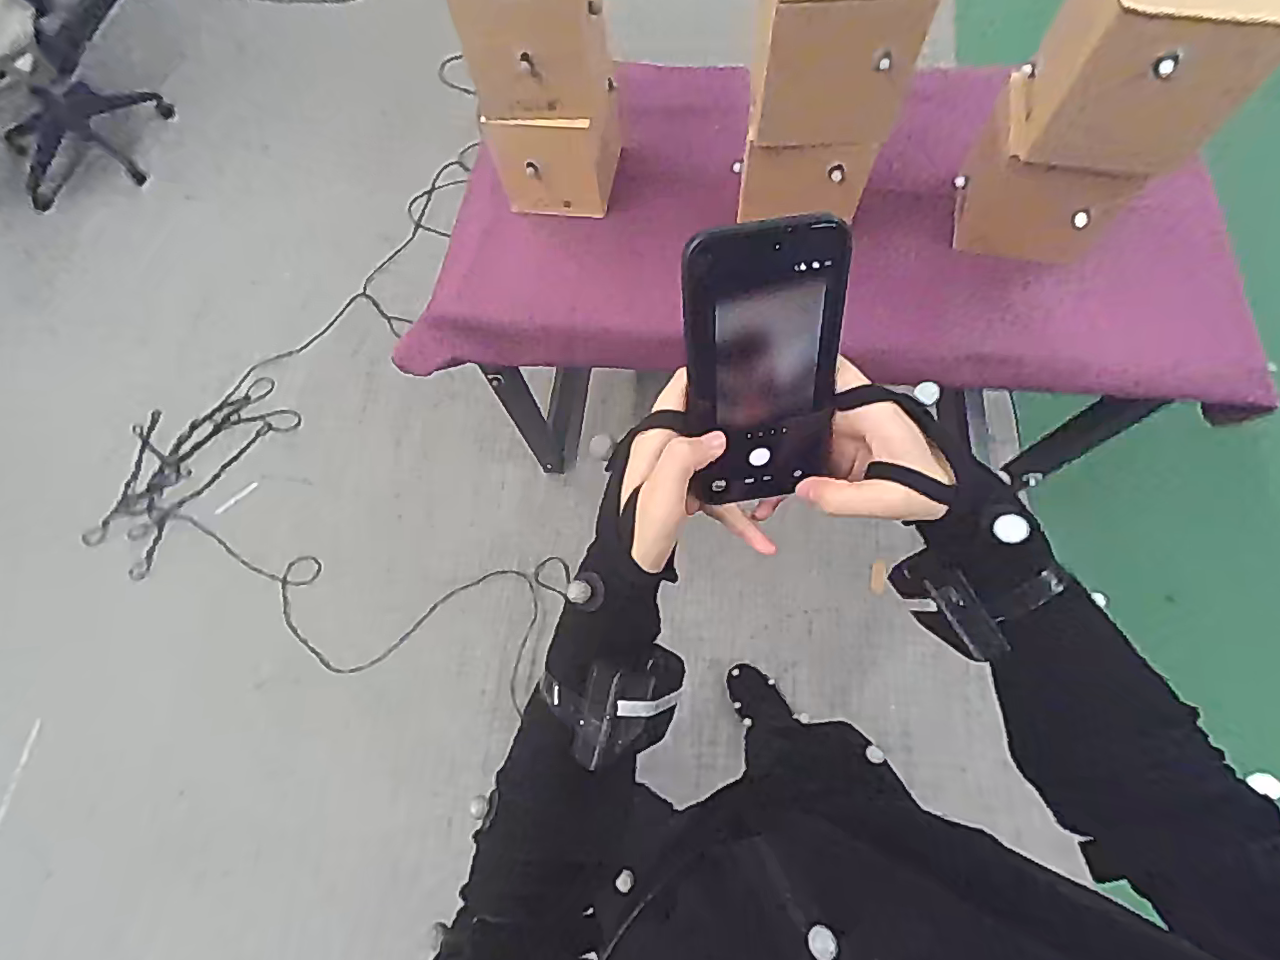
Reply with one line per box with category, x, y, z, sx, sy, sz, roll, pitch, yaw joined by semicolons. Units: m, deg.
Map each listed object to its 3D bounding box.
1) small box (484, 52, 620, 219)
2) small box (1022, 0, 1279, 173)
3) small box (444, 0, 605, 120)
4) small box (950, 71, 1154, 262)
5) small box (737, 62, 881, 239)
small box;-0.131;-0.557;0.885;0.168;0.176;0.179;7;69;7
small box;0.579;-0.490;0.627;0.179;0.176;0.168;12;70;8
small box;-0.143;-0.624;0.735;0.168;0.176;0.179;2;70;5
small box;0.585;-0.446;0.785;0.179;0.176;0.168;12;70;9
small box;0.251;-0.496;0.830;0.179;0.176;0.168;6;69;7
